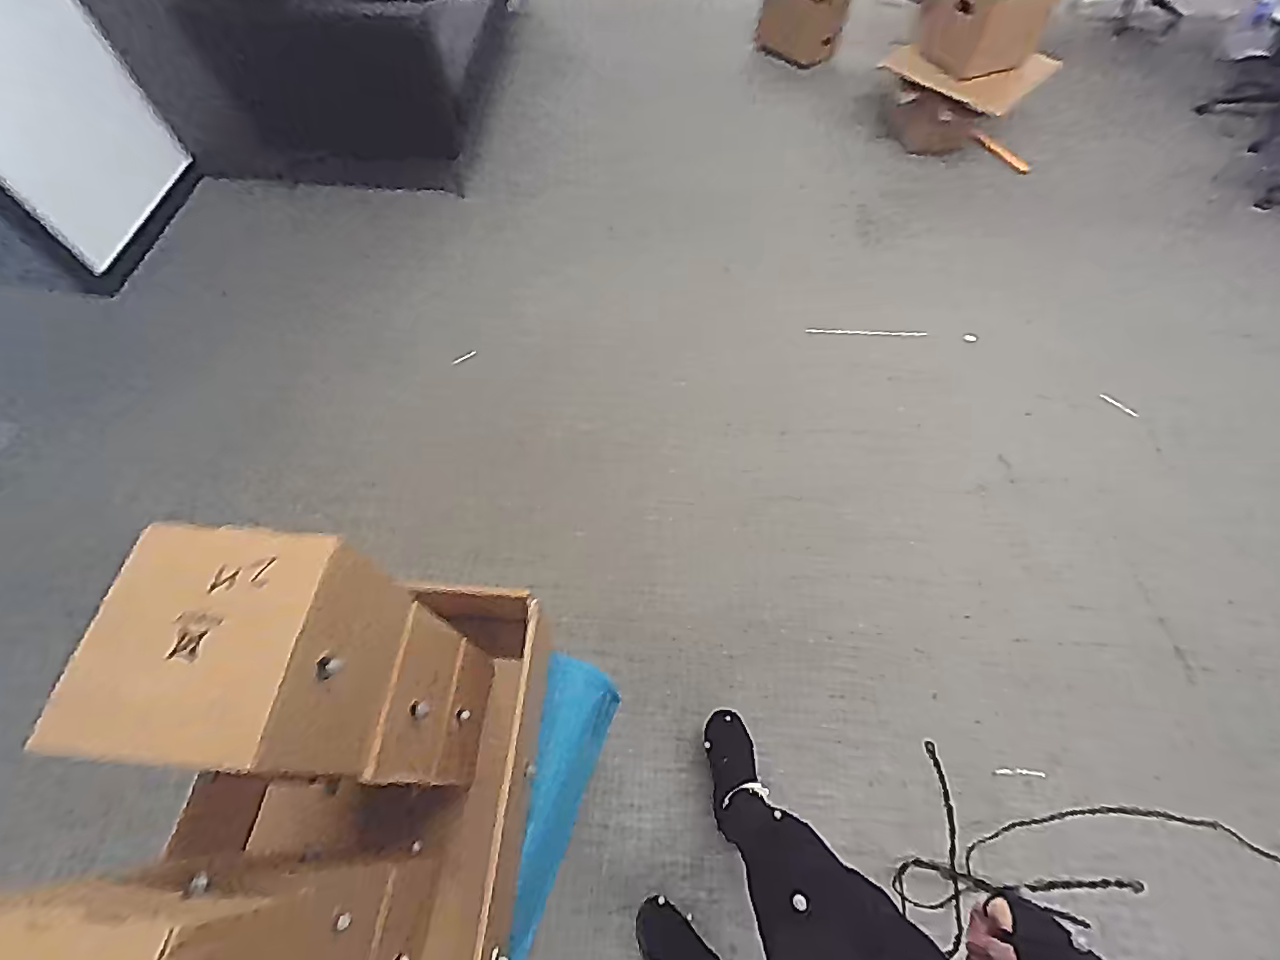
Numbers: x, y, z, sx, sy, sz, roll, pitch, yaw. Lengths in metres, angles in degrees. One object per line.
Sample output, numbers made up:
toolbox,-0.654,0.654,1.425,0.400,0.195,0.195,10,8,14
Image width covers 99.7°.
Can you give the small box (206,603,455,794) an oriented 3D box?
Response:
small box,-0.328,0.251,0.620,0.168,0.176,0.179,2,62,2
